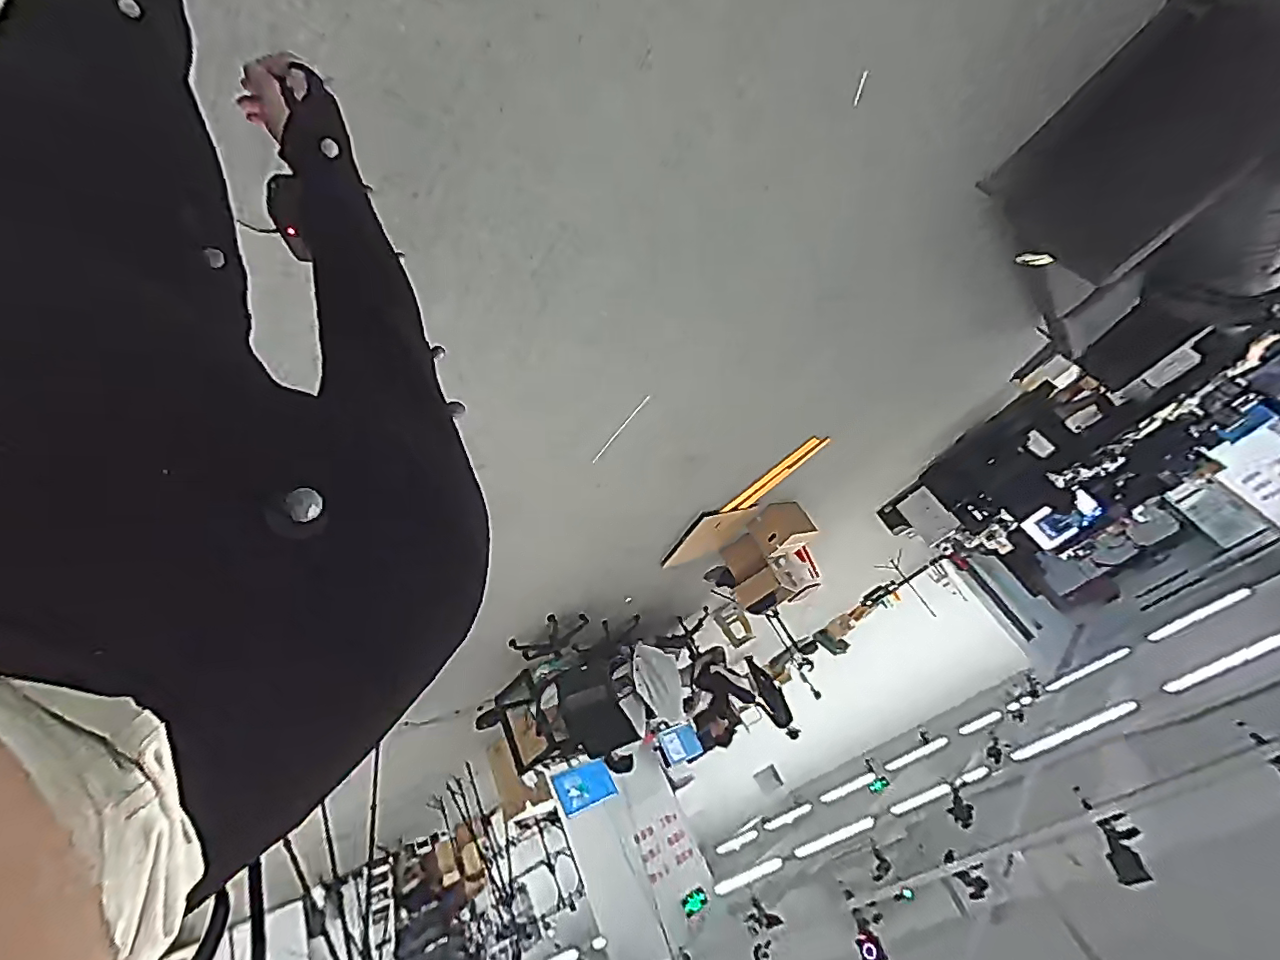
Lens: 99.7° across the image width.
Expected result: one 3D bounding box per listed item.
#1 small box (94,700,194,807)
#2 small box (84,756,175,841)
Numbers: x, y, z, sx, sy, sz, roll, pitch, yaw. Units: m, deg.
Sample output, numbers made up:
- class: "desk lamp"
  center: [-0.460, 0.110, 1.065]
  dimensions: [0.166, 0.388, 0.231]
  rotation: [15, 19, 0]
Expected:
- class: "small box"
  center: [-1.253, 0.685, 1.369]
  dimensions: [0.168, 0.176, 0.179]
  rotation: [7, 135, -48]
- class: "small box"
  center: [-1.408, 0.852, 1.495]
  dimensions: [0.168, 0.176, 0.179]
  rotation: [7, 134, -47]
